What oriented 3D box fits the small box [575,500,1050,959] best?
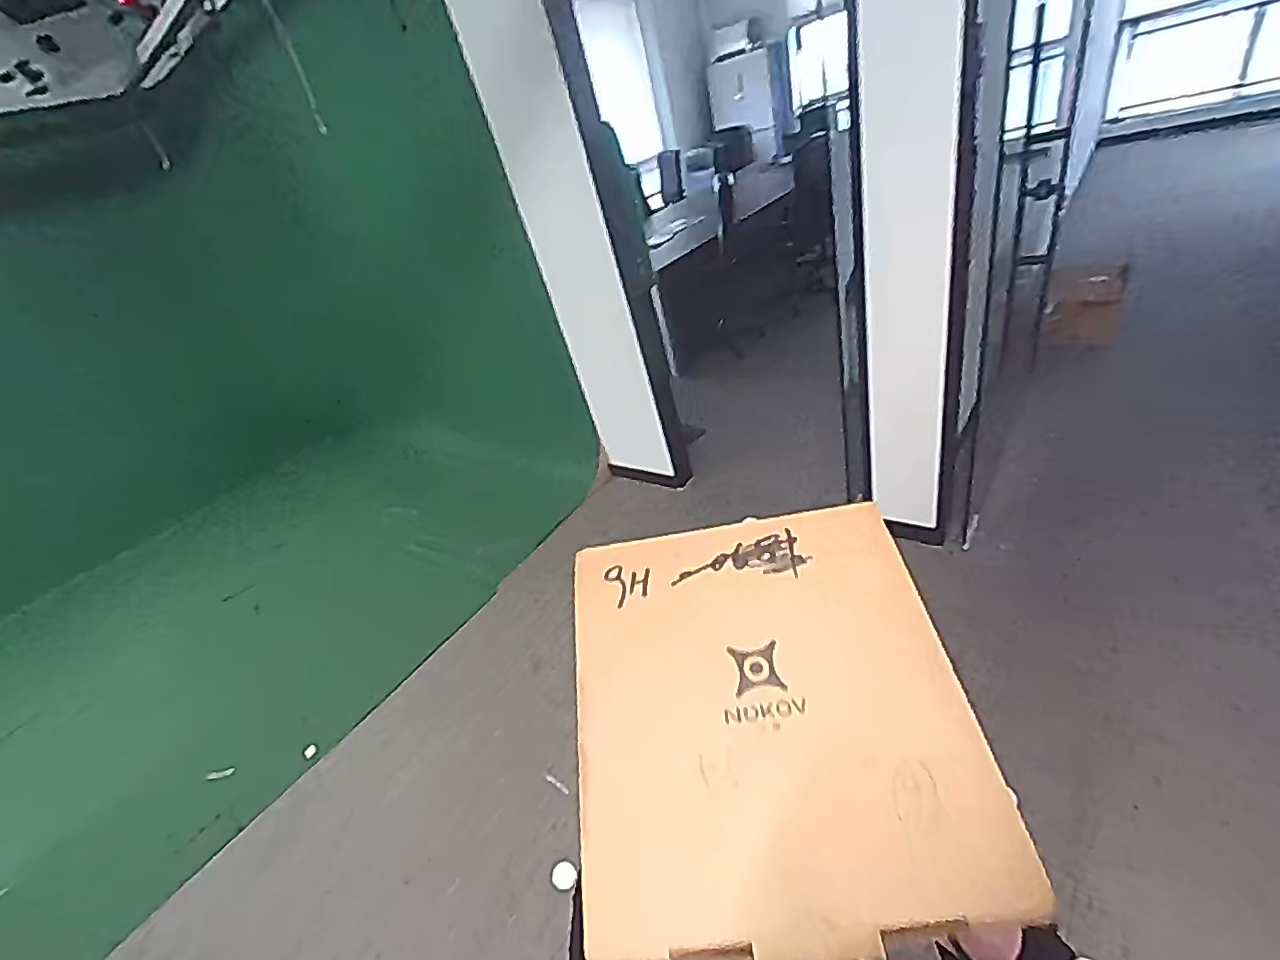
[{"bbox_3d":[0.064,0.139,0.299,0.168,0.176,0.179,-9,52,2],"label":"small box"}]
